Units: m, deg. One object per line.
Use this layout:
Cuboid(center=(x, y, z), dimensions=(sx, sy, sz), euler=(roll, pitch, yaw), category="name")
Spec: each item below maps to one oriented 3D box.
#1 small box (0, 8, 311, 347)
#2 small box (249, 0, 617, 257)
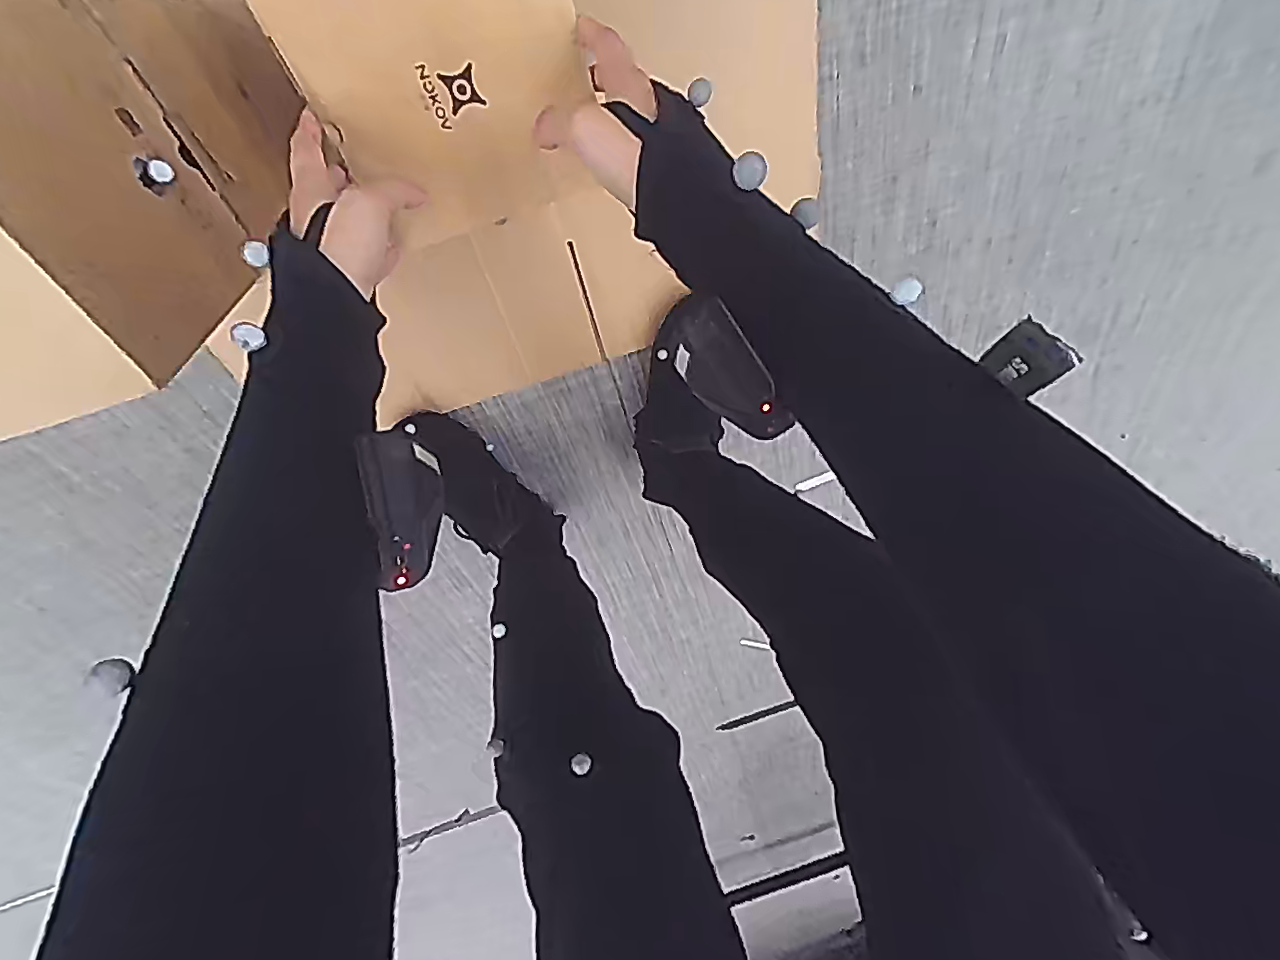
Cuboid(center=(-0.384, -0.233, 0.411), dimensions=(0.179, 0.176, 0.168), euler=(-18, 132, 0), category="small box")
Cuboid(center=(-0.135, -0.303, 0.397), dimensions=(0.179, 0.176, 0.168), euler=(-19, 140, 1), category="small box")
